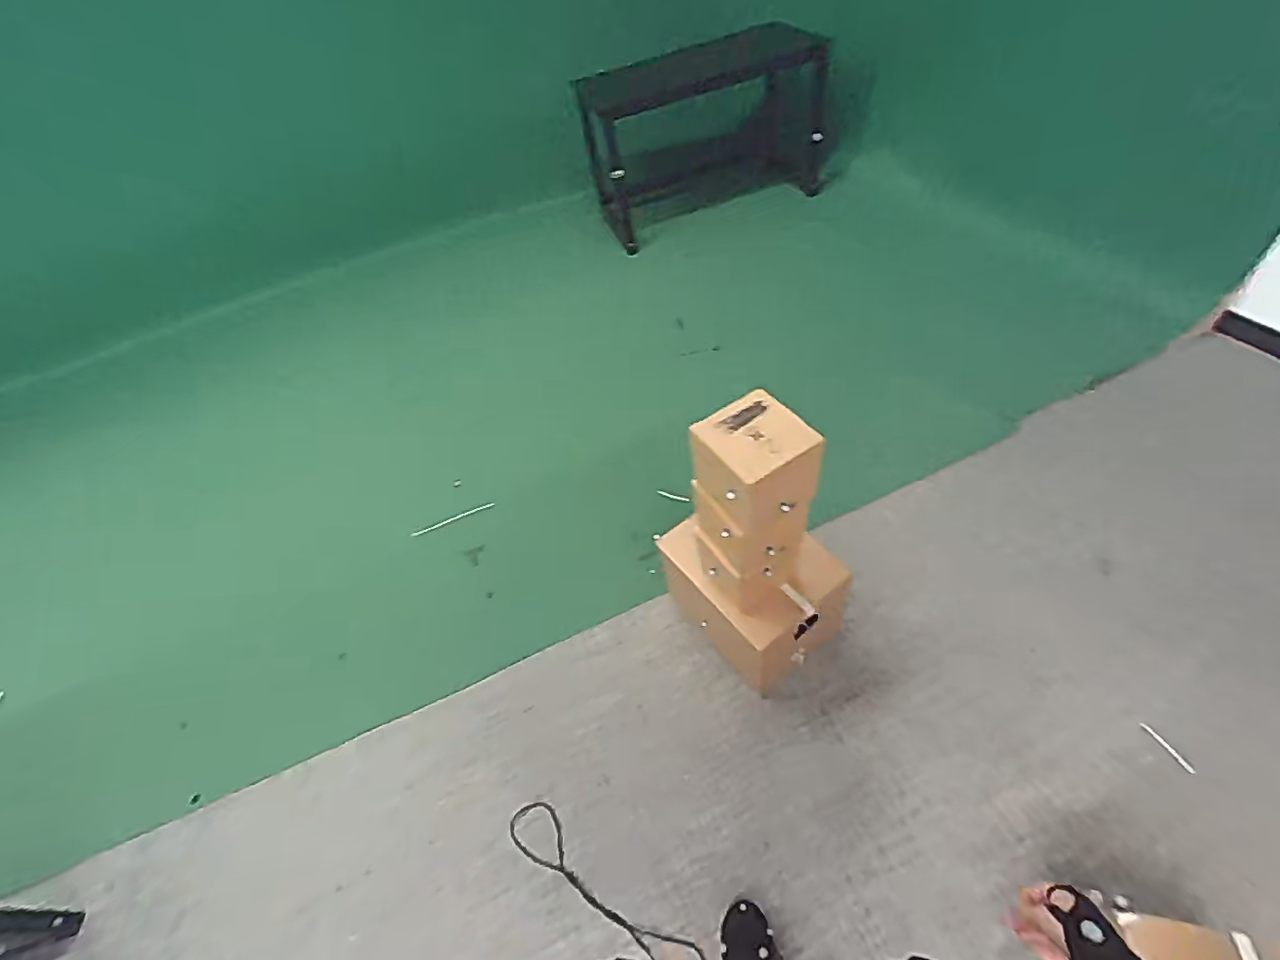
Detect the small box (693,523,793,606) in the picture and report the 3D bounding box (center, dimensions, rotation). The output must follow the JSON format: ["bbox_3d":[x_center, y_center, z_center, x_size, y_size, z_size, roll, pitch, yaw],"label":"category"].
[{"bbox_3d":[0.248,0.166,1.274,0.179,0.176,0.168,-30,51,-13],"label":"small box"}]

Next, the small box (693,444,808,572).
[{"bbox_3d":[0.230,0.062,1.150,0.168,0.176,0.179,-28,51,-12],"label":"small box"}]

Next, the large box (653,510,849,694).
[{"bbox_3d":[0.296,0.291,1.483,0.320,0.320,0.408,-33,50,-17],"label":"large box"}]
